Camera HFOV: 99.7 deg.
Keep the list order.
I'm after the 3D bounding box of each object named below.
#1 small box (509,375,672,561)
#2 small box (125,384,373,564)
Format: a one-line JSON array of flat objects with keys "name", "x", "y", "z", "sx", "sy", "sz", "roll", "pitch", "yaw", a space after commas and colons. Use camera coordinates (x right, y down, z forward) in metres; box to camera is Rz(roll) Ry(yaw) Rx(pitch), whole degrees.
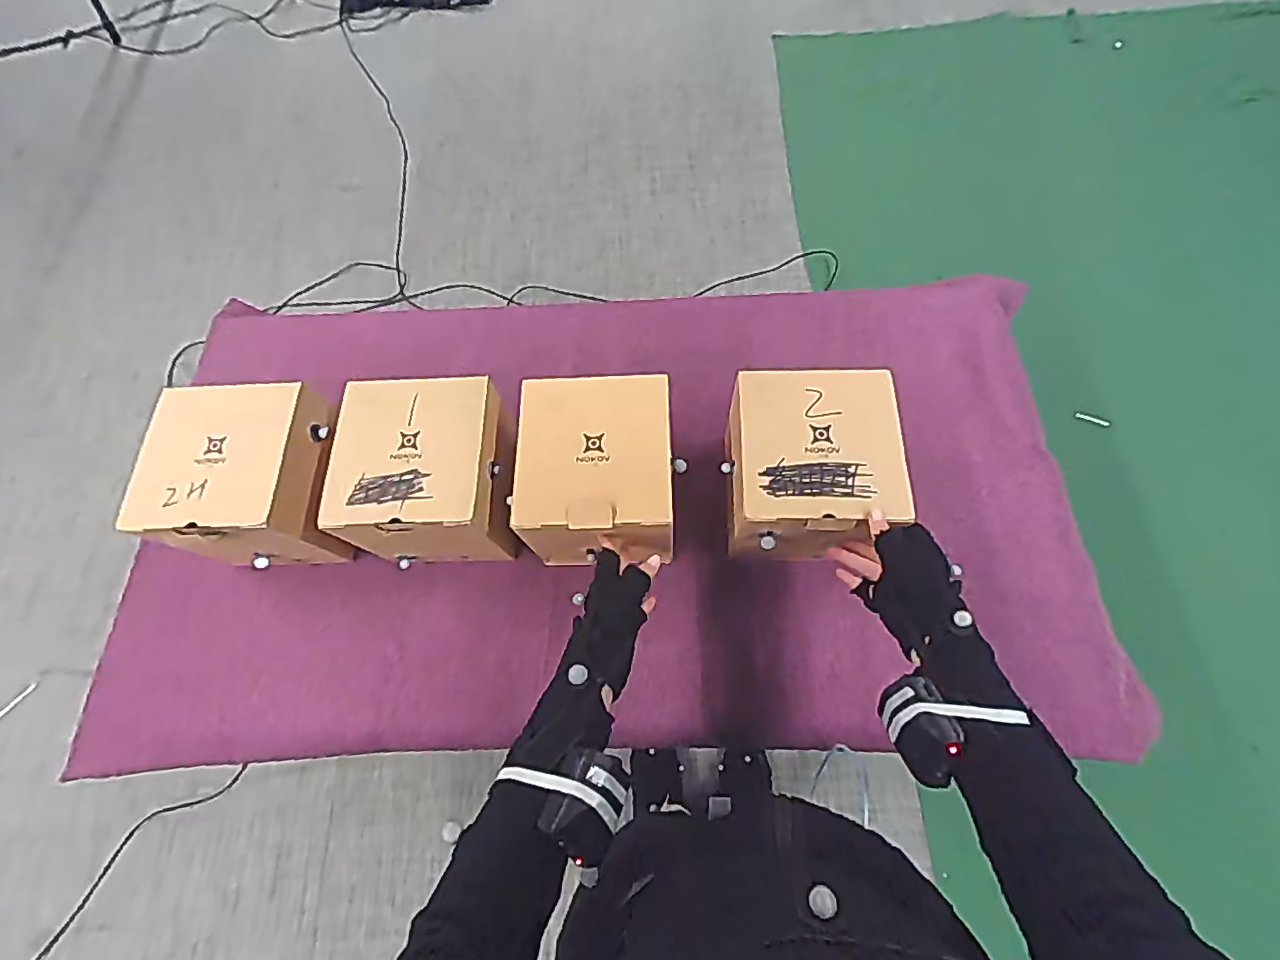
[{"name": "small box", "x": -0.047, "y": -0.007, "z": 0.652, "sx": 0.168, "sy": 0.176, "sz": 0.179, "roll": -2, "pitch": 69, "yaw": 4}, {"name": "small box", "x": -0.461, "y": 0.000, "z": 0.673, "sx": 0.168, "sy": 0.176, "sz": 0.179, "roll": -2, "pitch": 69, "yaw": 3}]
